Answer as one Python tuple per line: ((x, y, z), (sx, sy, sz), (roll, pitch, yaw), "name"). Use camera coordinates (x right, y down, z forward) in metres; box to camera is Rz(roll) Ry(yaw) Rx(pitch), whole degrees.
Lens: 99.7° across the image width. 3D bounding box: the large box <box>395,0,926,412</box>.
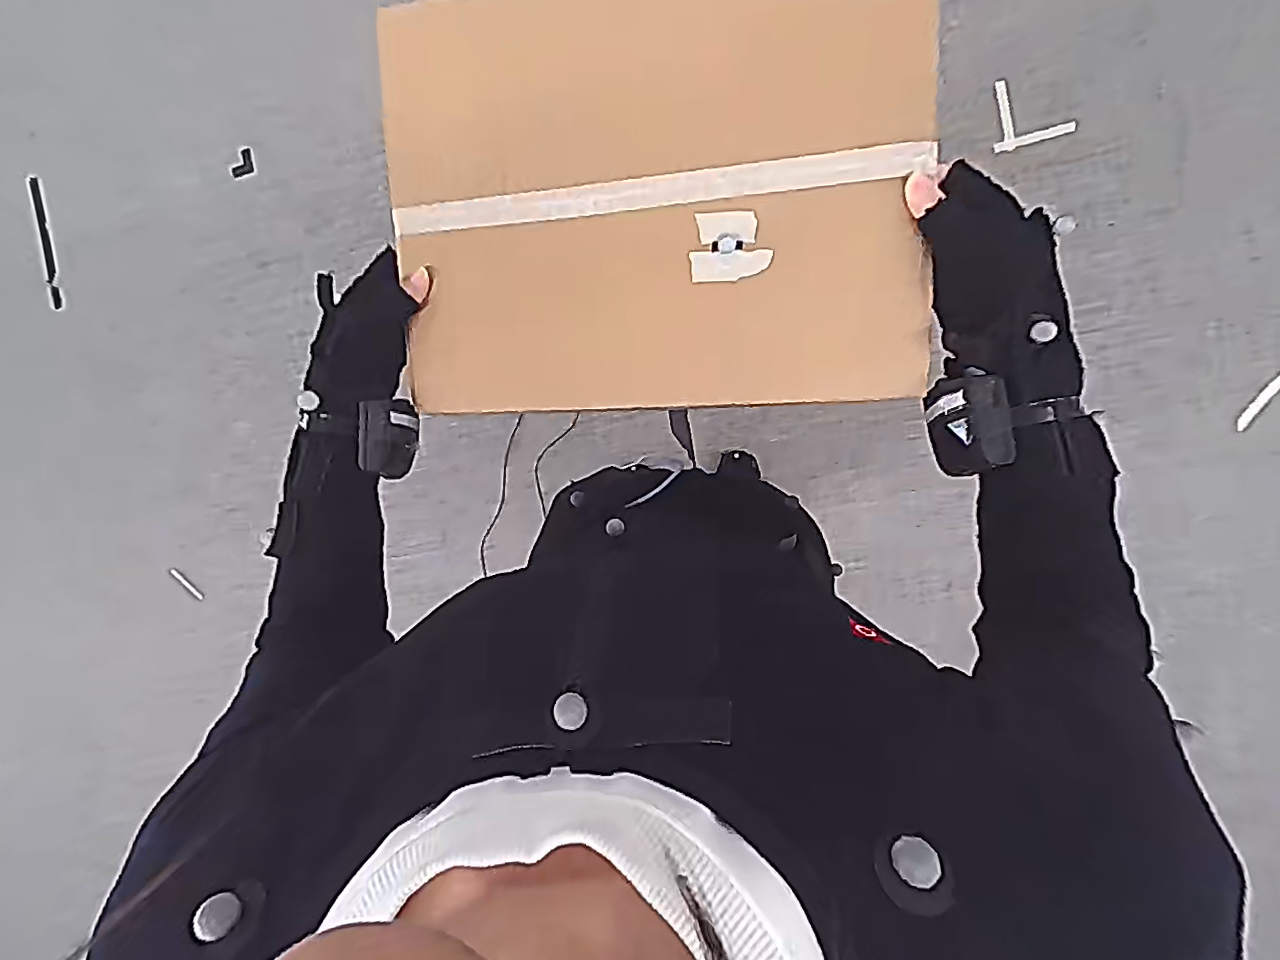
((0.031, -0.240, 0.559), (0.408, 0.320, 0.320), (-1, 99, 11), "large box")
